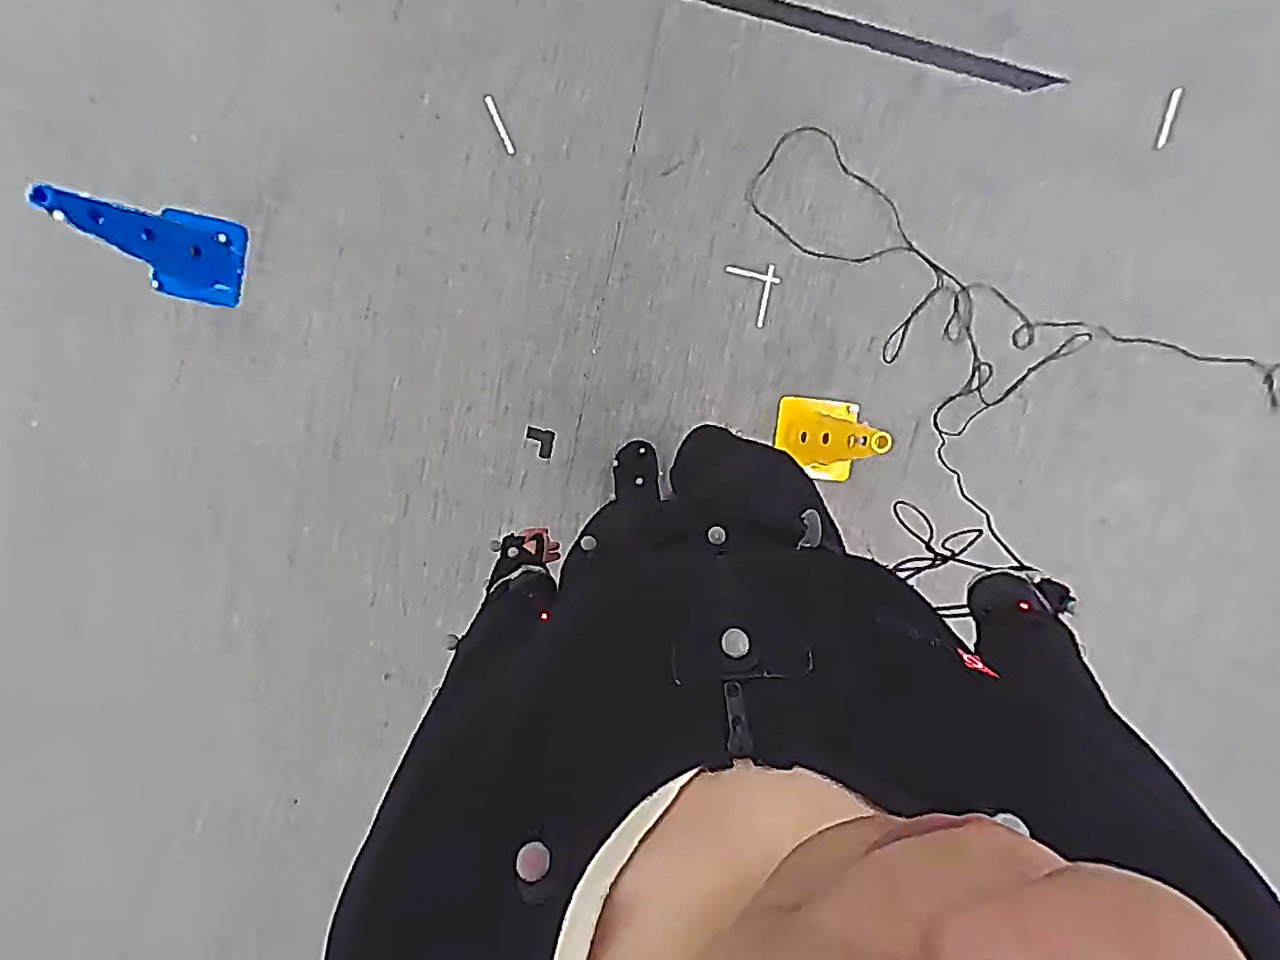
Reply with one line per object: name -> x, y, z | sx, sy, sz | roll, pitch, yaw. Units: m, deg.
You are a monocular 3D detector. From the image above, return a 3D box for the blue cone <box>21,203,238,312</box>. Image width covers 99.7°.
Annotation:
blue cone -> -1.040, -0.485, 1.104 | 0.193, 0.380, 0.192 | 13, 96, -3
